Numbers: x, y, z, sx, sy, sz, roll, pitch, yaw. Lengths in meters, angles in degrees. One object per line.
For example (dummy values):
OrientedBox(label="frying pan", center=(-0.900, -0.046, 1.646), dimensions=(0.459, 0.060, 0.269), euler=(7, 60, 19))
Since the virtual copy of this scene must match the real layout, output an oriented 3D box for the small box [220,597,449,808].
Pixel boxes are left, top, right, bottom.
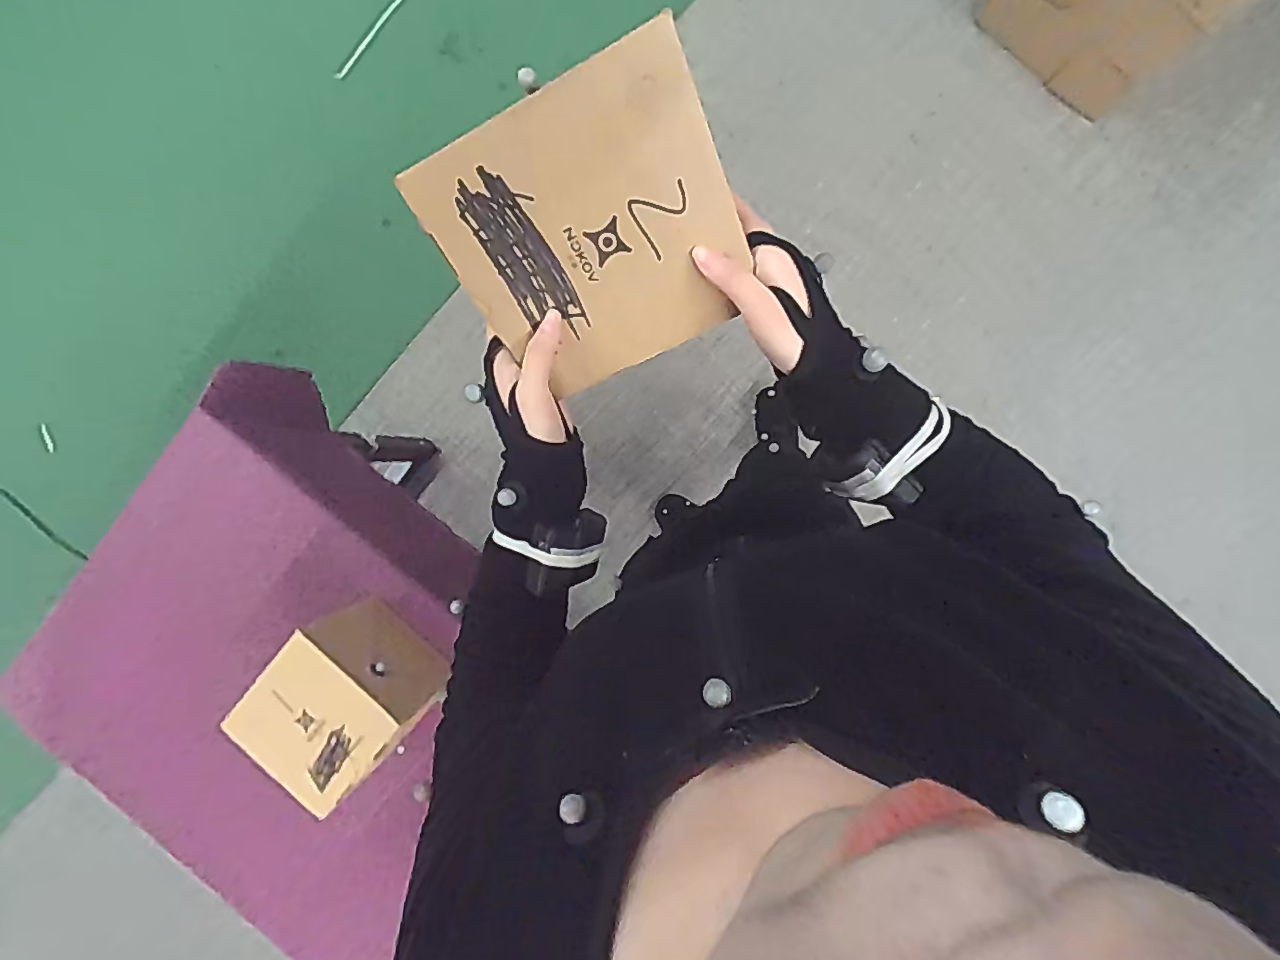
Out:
OrientedBox(label="small box", center=(-0.400, 0.286, 0.741), dimensions=(0.179, 0.176, 0.168), euler=(41, 95, 2))
